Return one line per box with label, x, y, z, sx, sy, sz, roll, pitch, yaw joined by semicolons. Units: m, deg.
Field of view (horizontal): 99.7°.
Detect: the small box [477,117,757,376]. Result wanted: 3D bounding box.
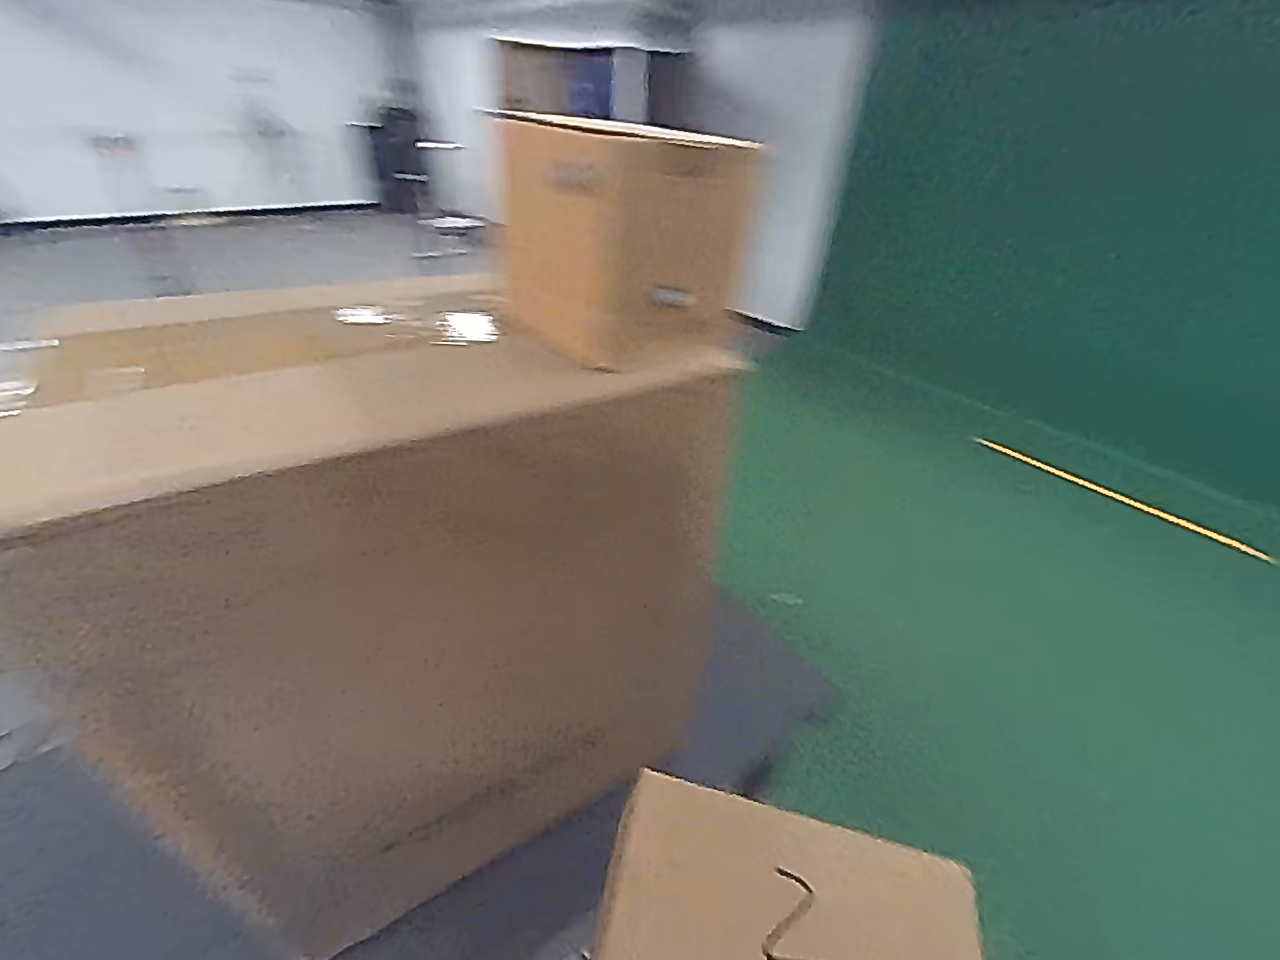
small box;-0.029;-0.210;0.485;0.168;0.176;0.179;-23;46;-36
